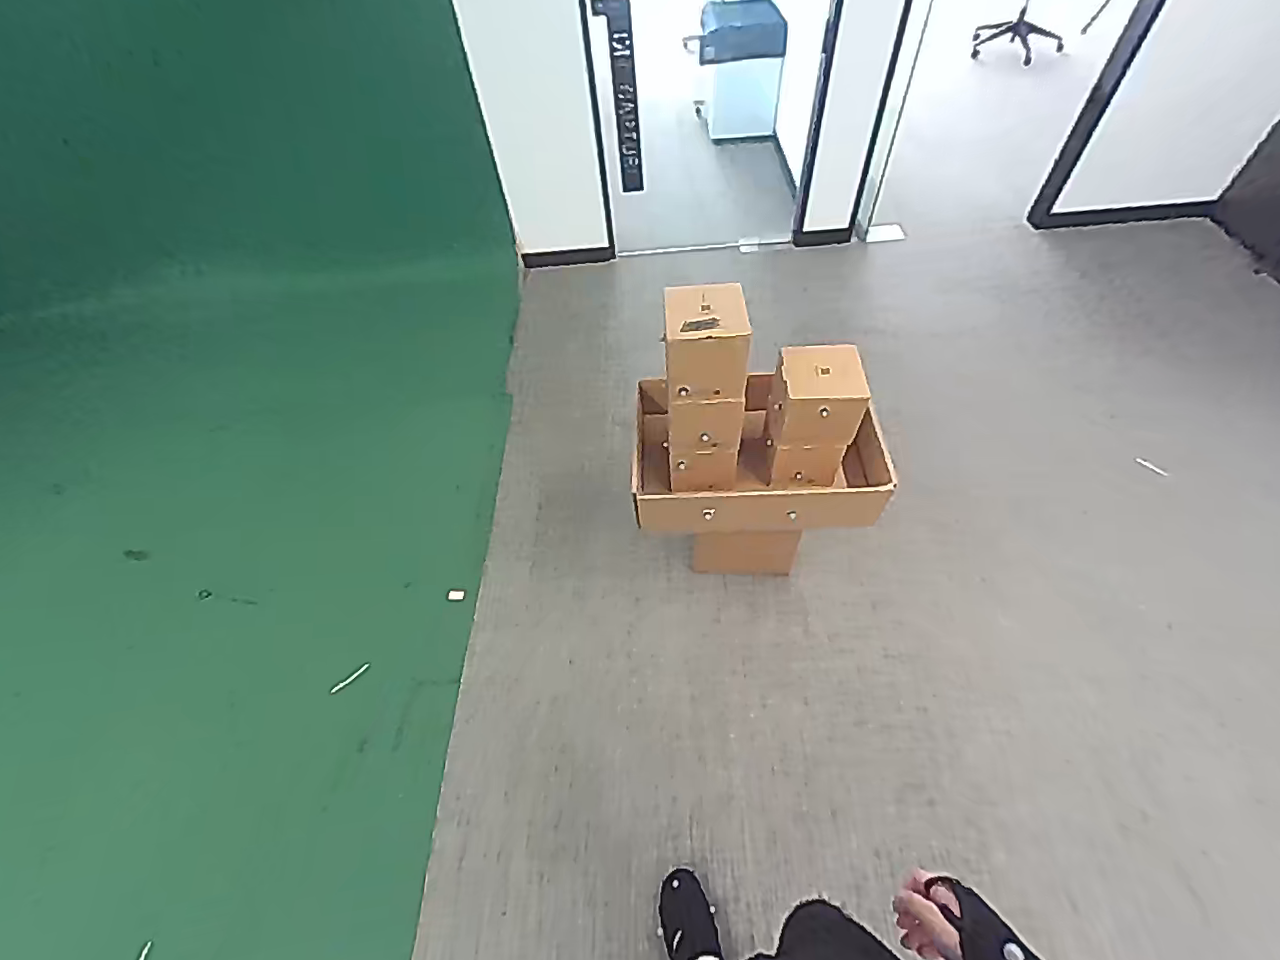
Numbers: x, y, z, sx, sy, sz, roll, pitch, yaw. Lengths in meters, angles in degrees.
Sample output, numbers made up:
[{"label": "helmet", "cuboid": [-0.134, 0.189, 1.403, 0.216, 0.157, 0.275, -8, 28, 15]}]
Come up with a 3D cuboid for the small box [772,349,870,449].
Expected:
[{"label": "small box", "cuboid": [0.410, -0.185, 1.262, 0.179, 0.176, 0.168, 0, 55, 3]}]

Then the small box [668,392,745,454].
[{"label": "small box", "cuboid": [0.149, -0.181, 1.273, 0.168, 0.176, 0.179, -2, 53, 3]}]

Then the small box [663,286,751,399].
[{"label": "small box", "cuboid": [0.136, -0.284, 1.146, 0.168, 0.176, 0.179, -2, 52, 2]}]
